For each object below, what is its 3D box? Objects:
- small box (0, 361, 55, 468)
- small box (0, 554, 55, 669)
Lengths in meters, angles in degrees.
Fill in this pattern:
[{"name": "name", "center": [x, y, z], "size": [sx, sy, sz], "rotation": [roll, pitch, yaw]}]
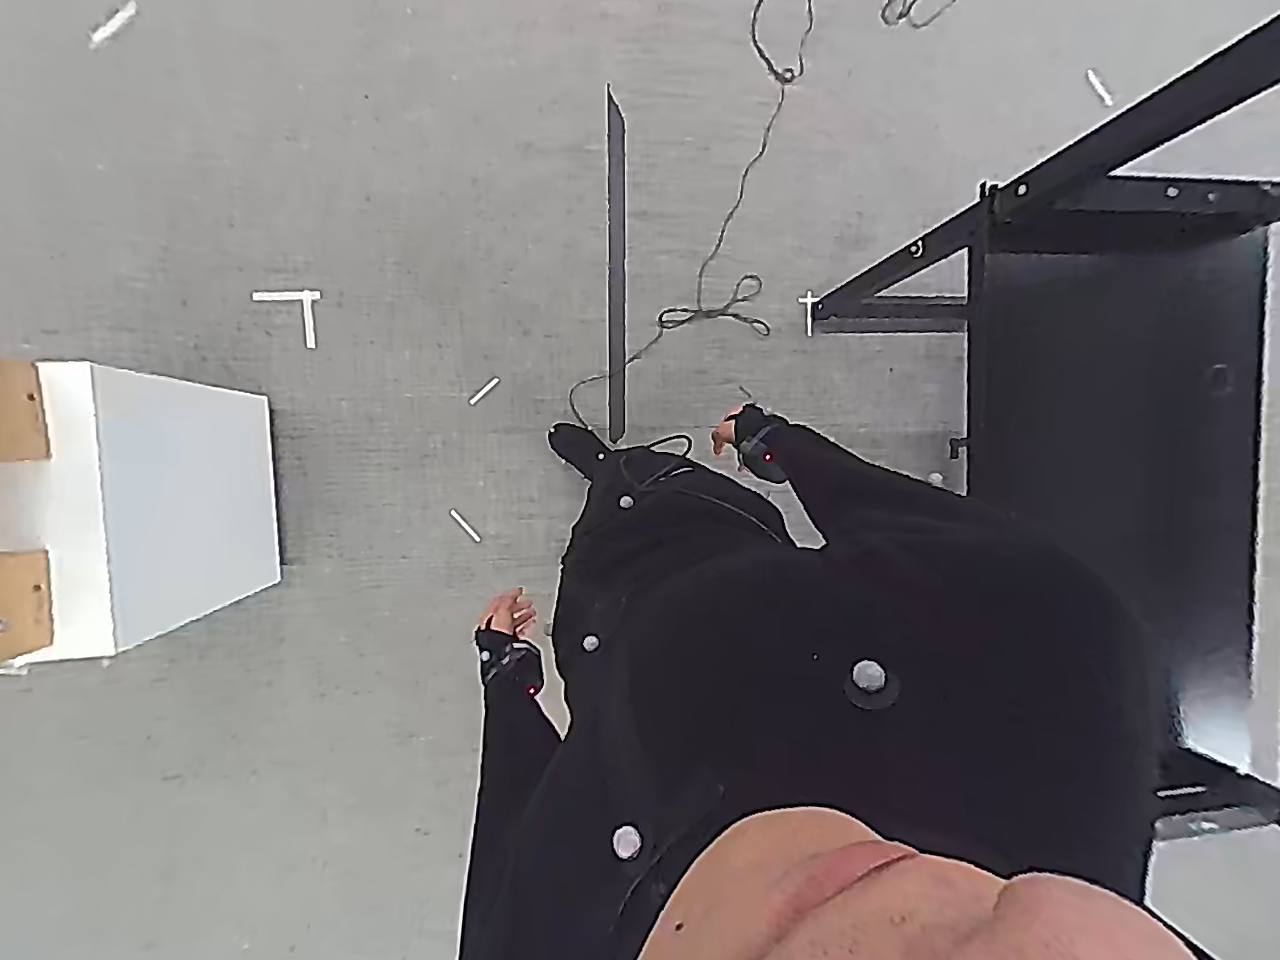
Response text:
[{"name": "small box", "center": [-1.065, -0.096, 0.816], "size": [0.179, 0.176, 0.168], "rotation": [-5, 95, -7]}, {"name": "small box", "center": [-1.067, 0.211, 0.835], "size": [0.179, 0.176, 0.168], "rotation": [-2, 93, -7]}]
